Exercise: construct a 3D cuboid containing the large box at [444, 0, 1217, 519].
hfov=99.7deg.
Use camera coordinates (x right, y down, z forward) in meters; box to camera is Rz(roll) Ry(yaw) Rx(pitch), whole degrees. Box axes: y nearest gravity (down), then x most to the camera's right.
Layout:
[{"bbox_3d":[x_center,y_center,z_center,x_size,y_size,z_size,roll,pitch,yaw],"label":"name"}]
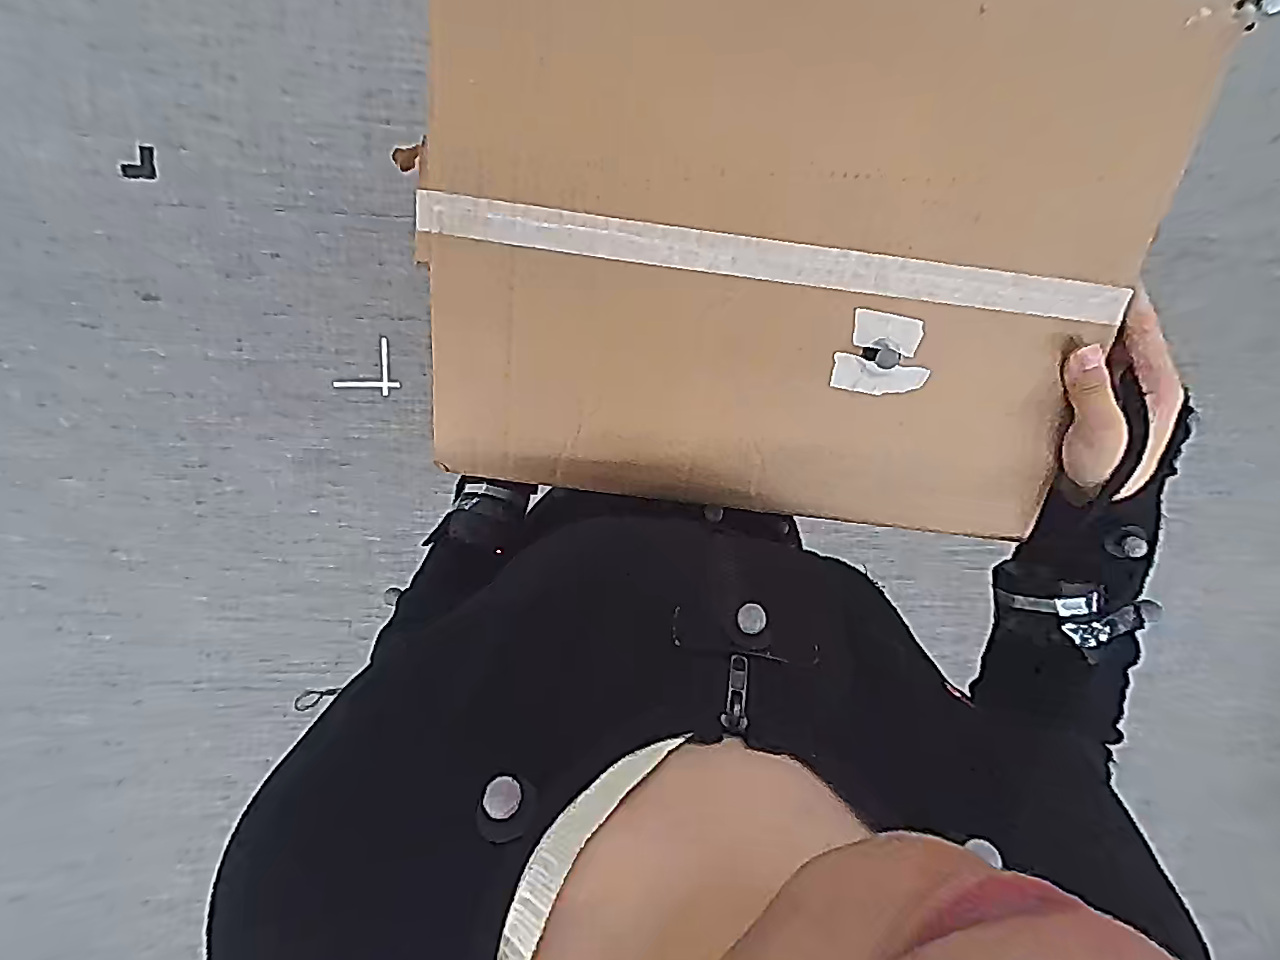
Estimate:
[{"bbox_3d":[0.083,-0.182,0.458,0.408,0.320,0.320,6,112,-4],"label":"large box"}]
